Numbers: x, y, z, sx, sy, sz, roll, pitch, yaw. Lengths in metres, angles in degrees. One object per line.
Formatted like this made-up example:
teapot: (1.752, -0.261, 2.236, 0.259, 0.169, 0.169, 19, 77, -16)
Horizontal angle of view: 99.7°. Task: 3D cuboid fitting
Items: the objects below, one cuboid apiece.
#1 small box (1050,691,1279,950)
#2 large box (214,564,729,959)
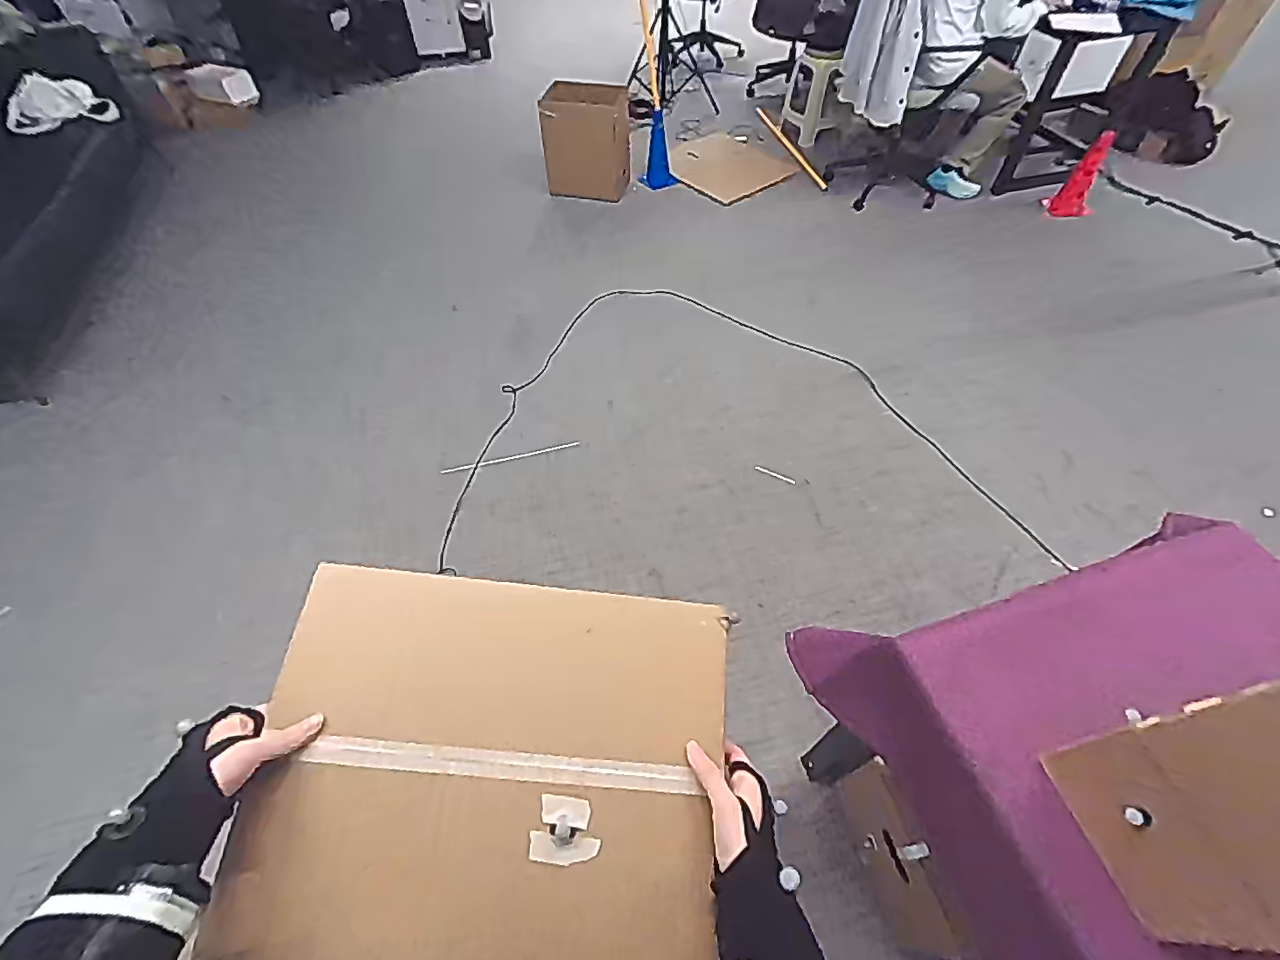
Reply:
small box: (0.573, 0.340, 0.540, 0.168, 0.176, 0.179, -12, 52, -6)
large box: (-0.134, 0.300, 0.617, 0.408, 0.320, 0.320, 7, 68, -3)
